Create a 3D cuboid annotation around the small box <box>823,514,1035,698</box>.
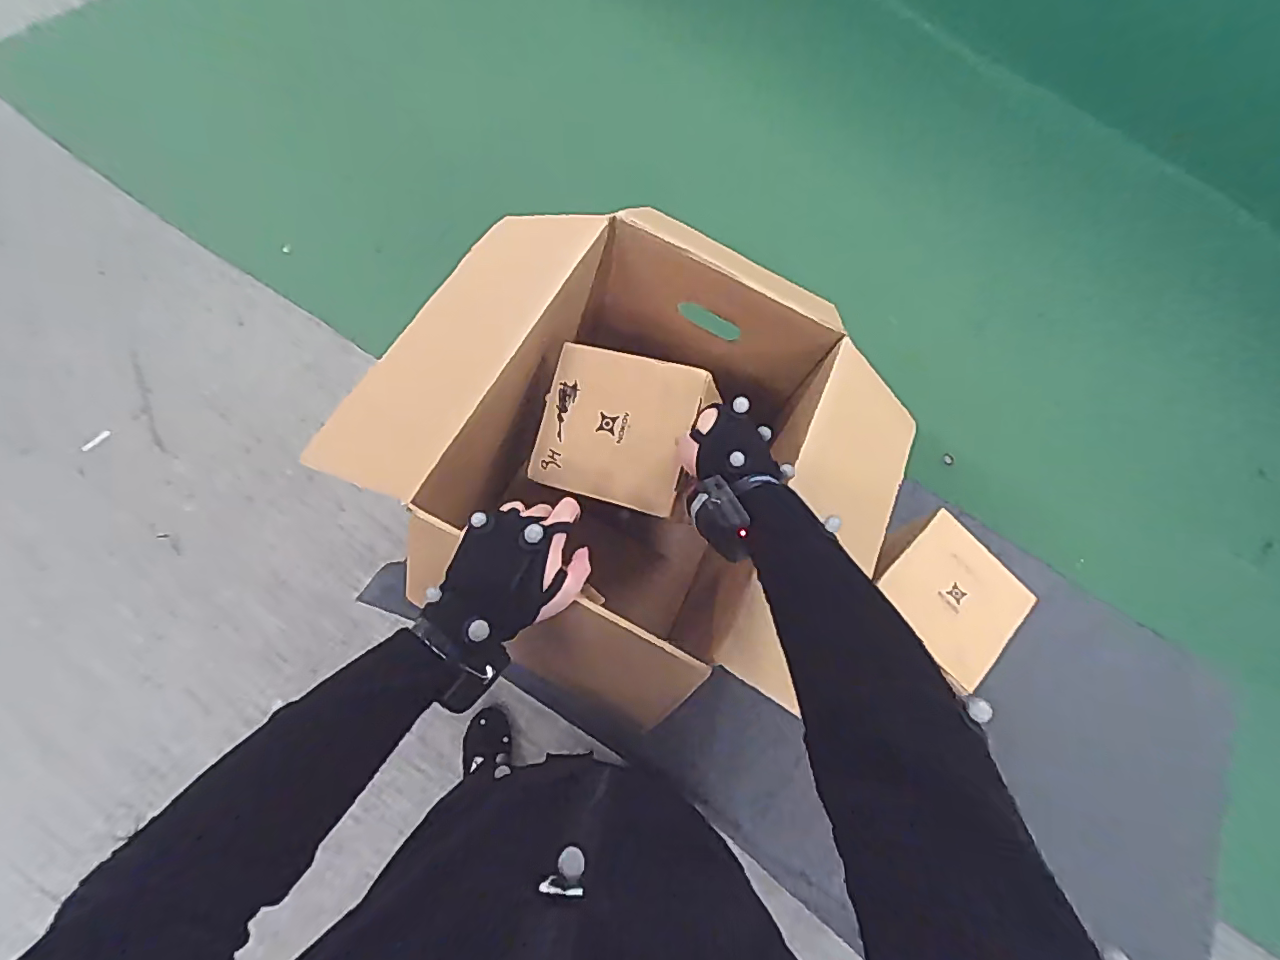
[{"bbox_3d":[0.388,0.182,0.761,0.179,0.176,0.168,-39,81,-22],"label":"small box"}]
